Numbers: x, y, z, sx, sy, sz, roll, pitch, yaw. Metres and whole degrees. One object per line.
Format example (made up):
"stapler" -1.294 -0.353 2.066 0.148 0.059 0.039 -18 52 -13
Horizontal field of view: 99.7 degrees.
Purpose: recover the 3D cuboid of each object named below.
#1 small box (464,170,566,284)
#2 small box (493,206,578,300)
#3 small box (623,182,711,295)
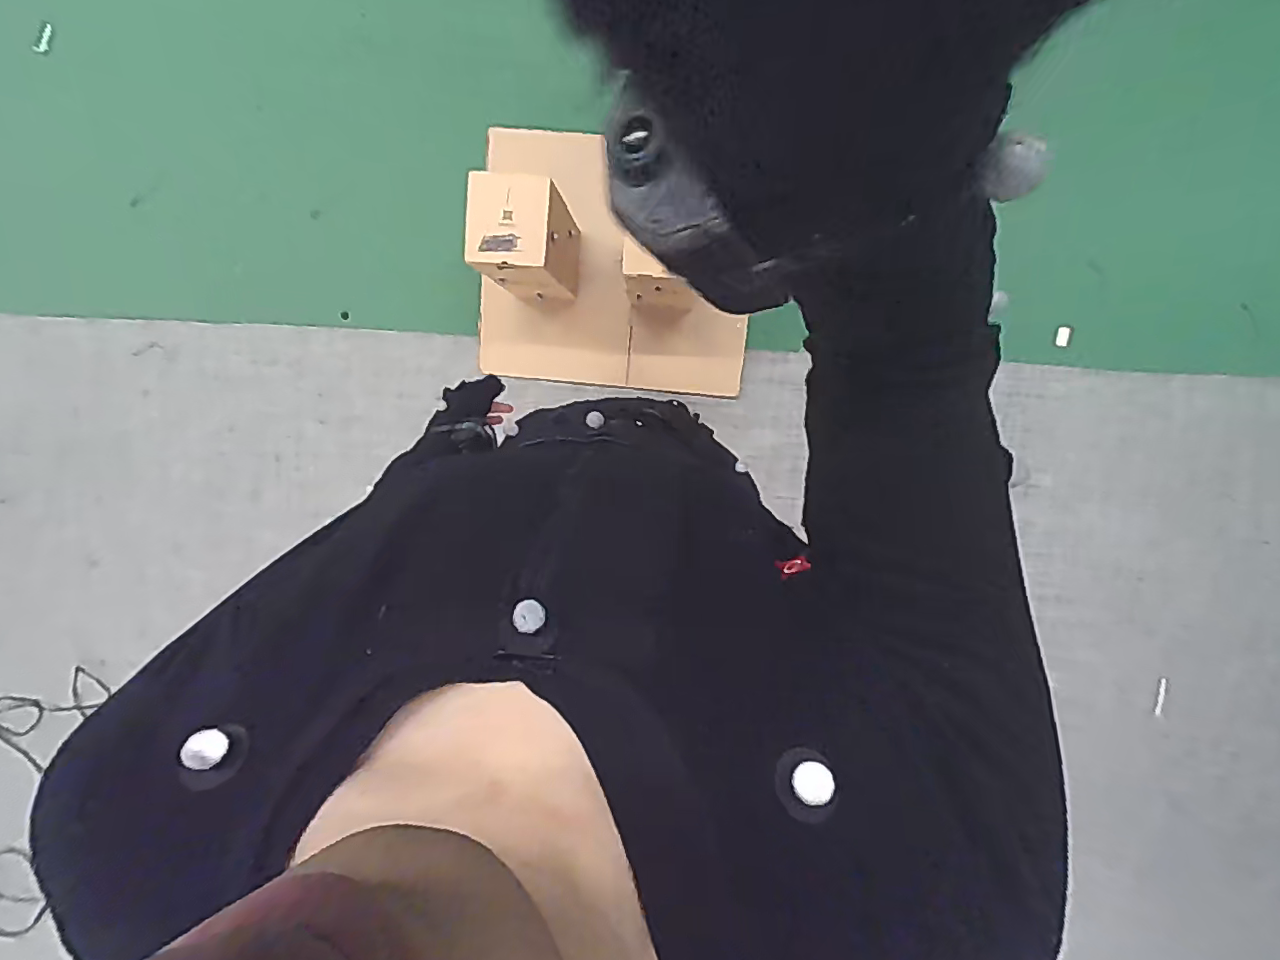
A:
"small box" -0.256 -0.522 1.140 0.168 0.176 0.179 6 98 3
"small box" -0.245 -0.545 1.302 0.168 0.176 0.179 4 99 4
"small box" 0.054 -0.497 1.132 0.168 0.176 0.179 2 98 2
